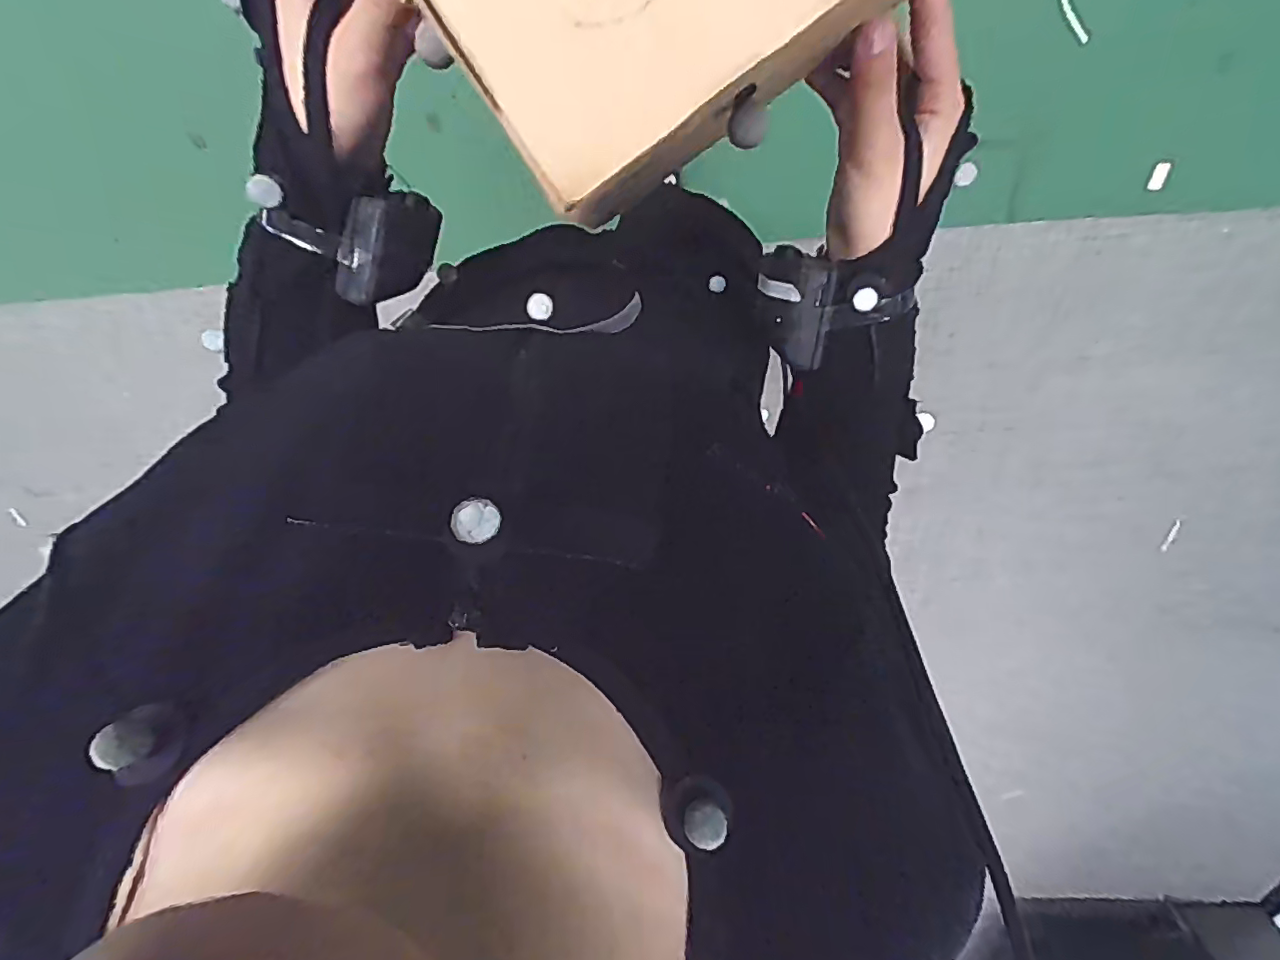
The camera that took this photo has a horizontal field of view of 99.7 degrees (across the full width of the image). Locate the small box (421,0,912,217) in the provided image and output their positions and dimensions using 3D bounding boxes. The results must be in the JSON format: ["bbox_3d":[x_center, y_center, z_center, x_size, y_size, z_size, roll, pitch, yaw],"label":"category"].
[{"bbox_3d":[0.007,-0.211,0.180,0.179,0.176,0.168,-31,110,12],"label":"small box"}]
